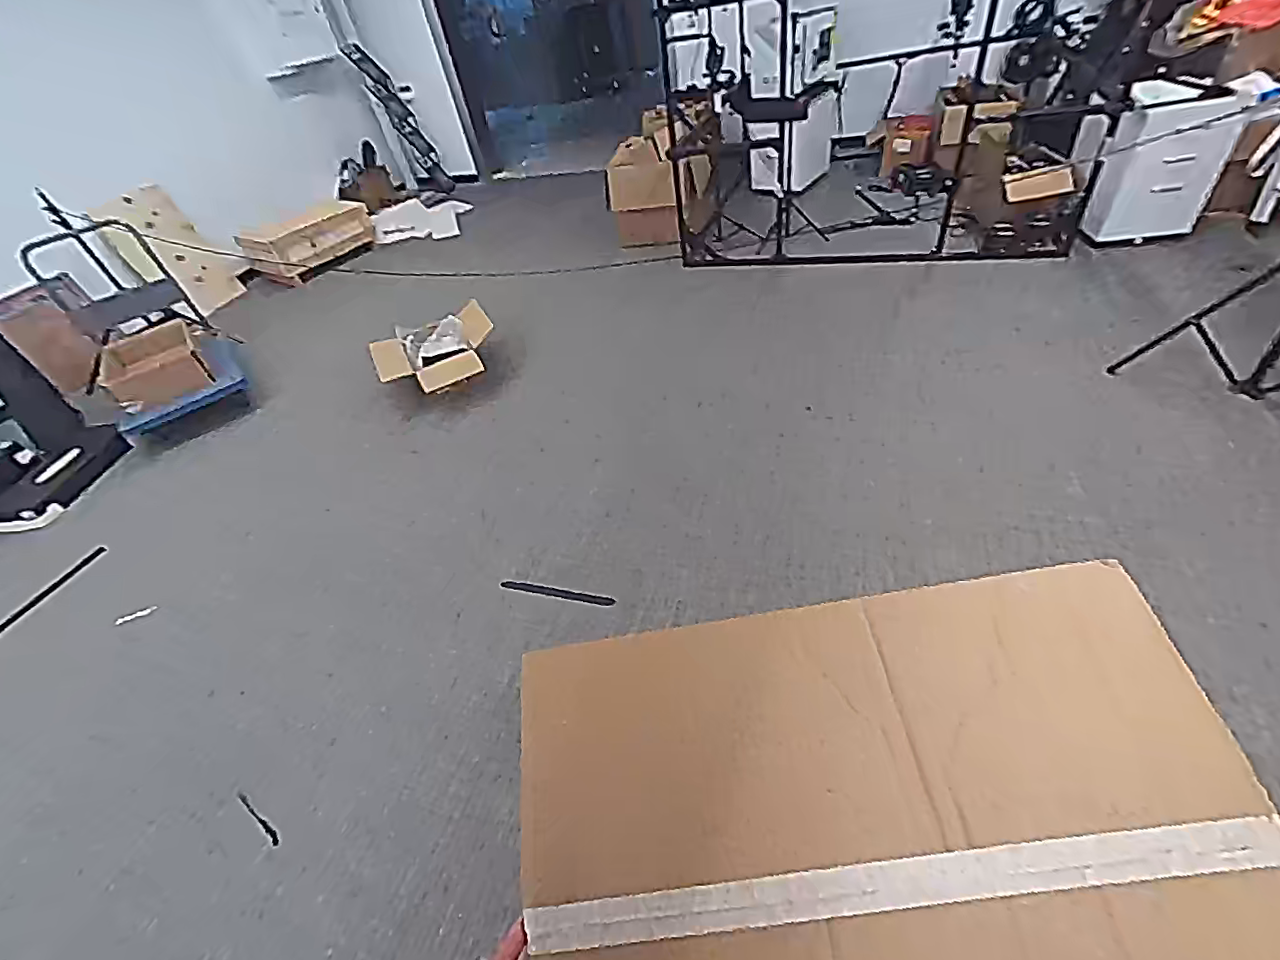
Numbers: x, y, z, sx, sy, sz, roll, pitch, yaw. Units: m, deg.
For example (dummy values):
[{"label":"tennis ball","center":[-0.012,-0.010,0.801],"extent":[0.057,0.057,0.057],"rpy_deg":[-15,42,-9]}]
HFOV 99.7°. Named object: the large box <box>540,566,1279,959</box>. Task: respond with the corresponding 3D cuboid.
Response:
[{"label":"large box","center":[0.162,0.300,0.429],"extent":[0.408,0.320,0.320],"rpy_deg":[-11,60,5]}]
